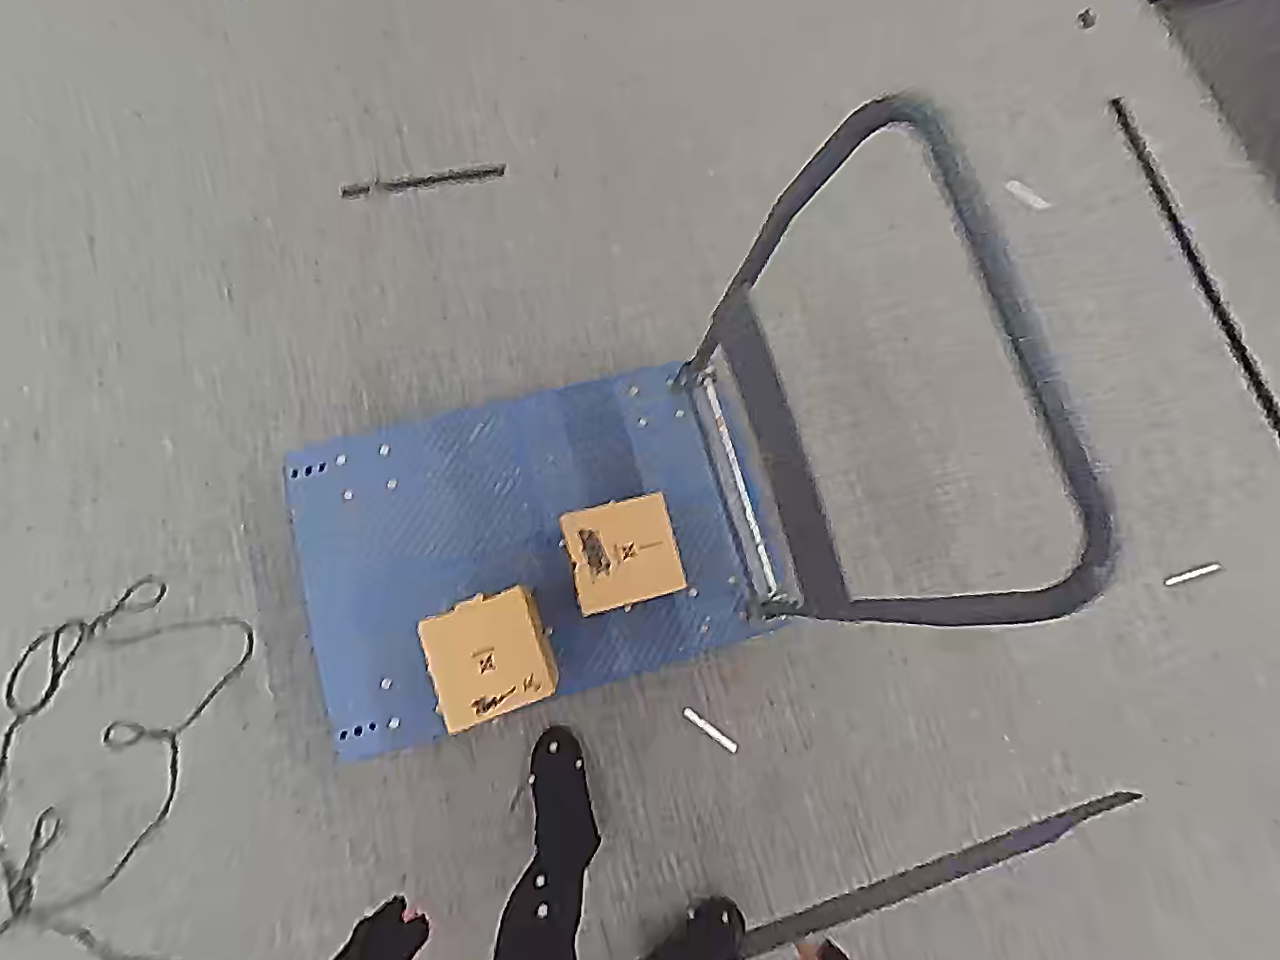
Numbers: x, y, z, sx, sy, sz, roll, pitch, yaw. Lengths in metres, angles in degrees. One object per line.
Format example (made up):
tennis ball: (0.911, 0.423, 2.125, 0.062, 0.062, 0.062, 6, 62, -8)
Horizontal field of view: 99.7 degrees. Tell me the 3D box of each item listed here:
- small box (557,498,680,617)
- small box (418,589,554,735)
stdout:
small box: (-0.042, 0.143, 0.966, 0.179, 0.176, 0.168, -13, 79, -9)
small box: (-0.250, 0.297, 0.912, 0.168, 0.176, 0.179, -19, 79, -9)
